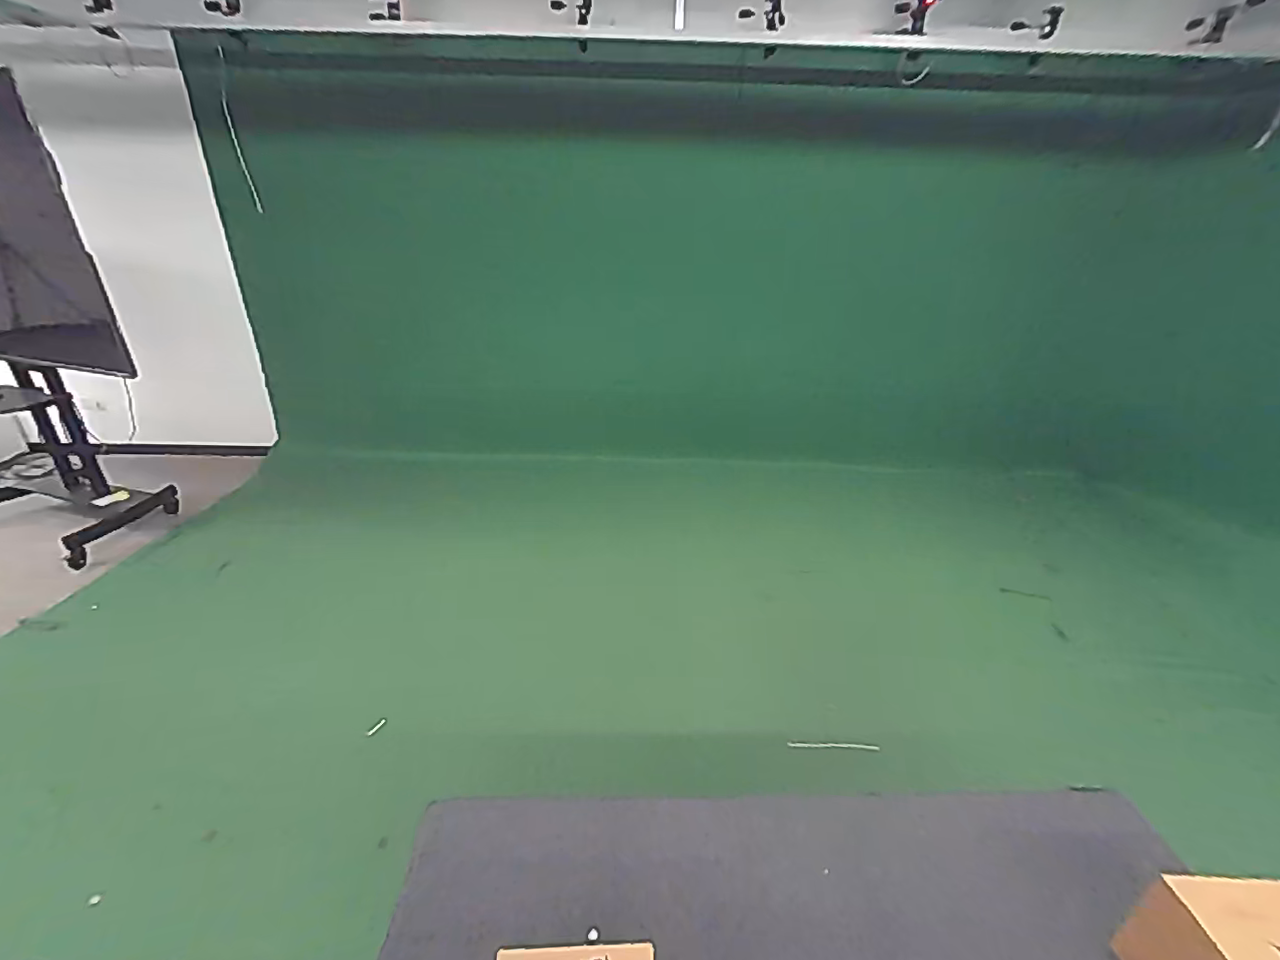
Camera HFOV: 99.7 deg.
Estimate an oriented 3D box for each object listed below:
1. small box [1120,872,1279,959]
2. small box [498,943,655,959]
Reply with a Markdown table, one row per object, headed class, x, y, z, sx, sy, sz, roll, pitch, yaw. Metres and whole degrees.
| class | x | y | z | sx | sy | sz | roll | pitch | yaw |
| --- | --- | --- | --- | --- | --- | --- | --- | --- | --- |
| small box | 0.739 | 0.610 | 0.639 | 0.168 | 0.176 | 0.179 | 2 | 23 | 1 |
| small box | -0.066 | 0.604 | 0.563 | 0.168 | 0.176 | 0.179 | 0 | 46 | -4 |
